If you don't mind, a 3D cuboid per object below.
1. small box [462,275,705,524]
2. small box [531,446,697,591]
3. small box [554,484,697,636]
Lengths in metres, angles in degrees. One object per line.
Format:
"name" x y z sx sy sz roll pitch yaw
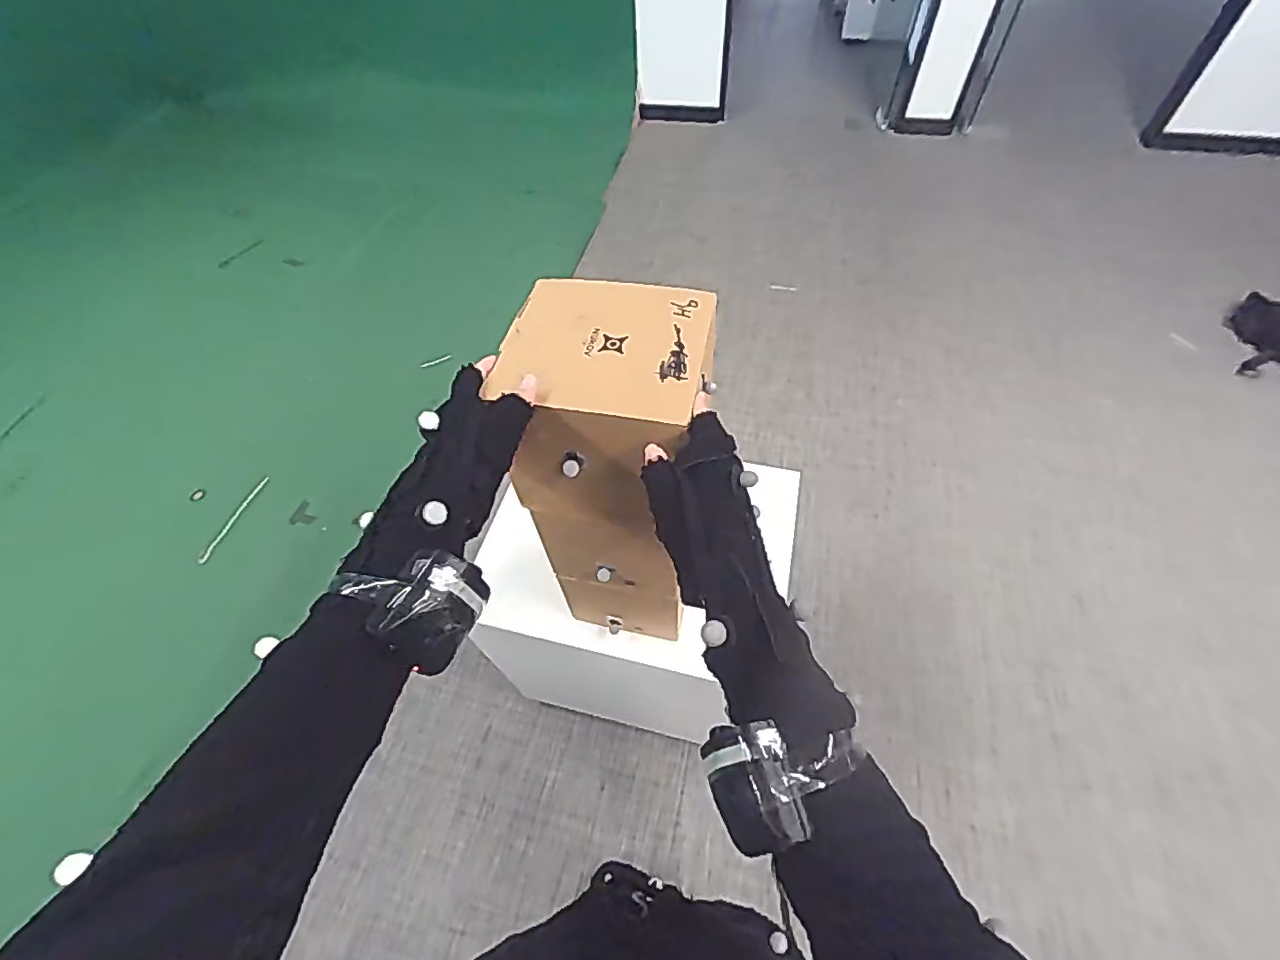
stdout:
"small box" -0.036 -0.074 0.524 0.179 0.176 0.168 8 56 11
"small box" -0.022 0.013 0.664 0.168 0.176 0.179 7 55 9
"small box" -0.012 0.108 0.798 0.168 0.176 0.179 8 58 10
